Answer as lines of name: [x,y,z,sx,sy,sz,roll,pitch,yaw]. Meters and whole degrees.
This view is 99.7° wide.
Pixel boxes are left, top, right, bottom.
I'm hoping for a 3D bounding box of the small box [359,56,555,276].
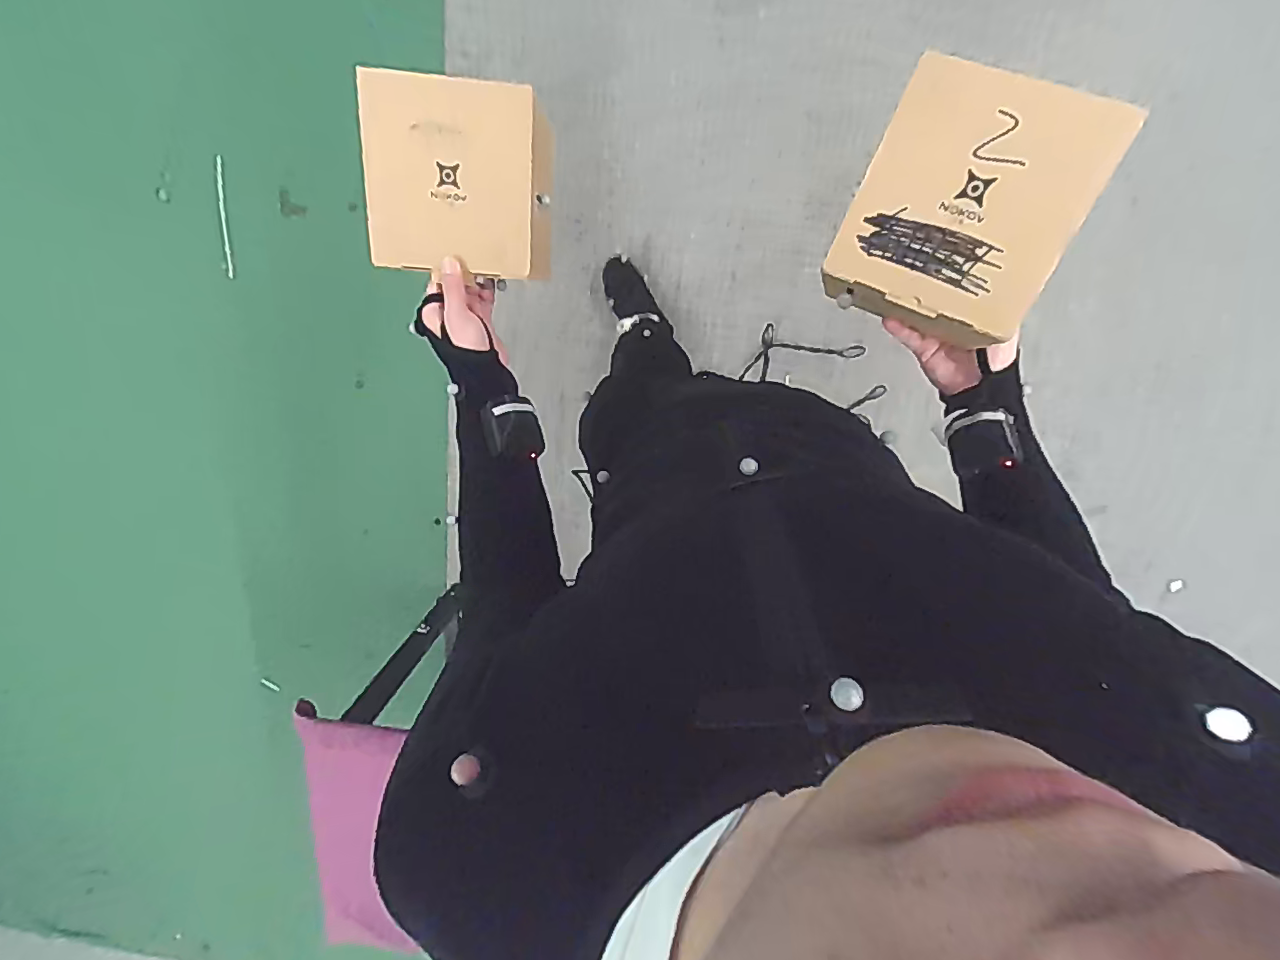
small box: [-0.190,-0.330,0.607,0.168,0.176,0.179,6,109,-3]
